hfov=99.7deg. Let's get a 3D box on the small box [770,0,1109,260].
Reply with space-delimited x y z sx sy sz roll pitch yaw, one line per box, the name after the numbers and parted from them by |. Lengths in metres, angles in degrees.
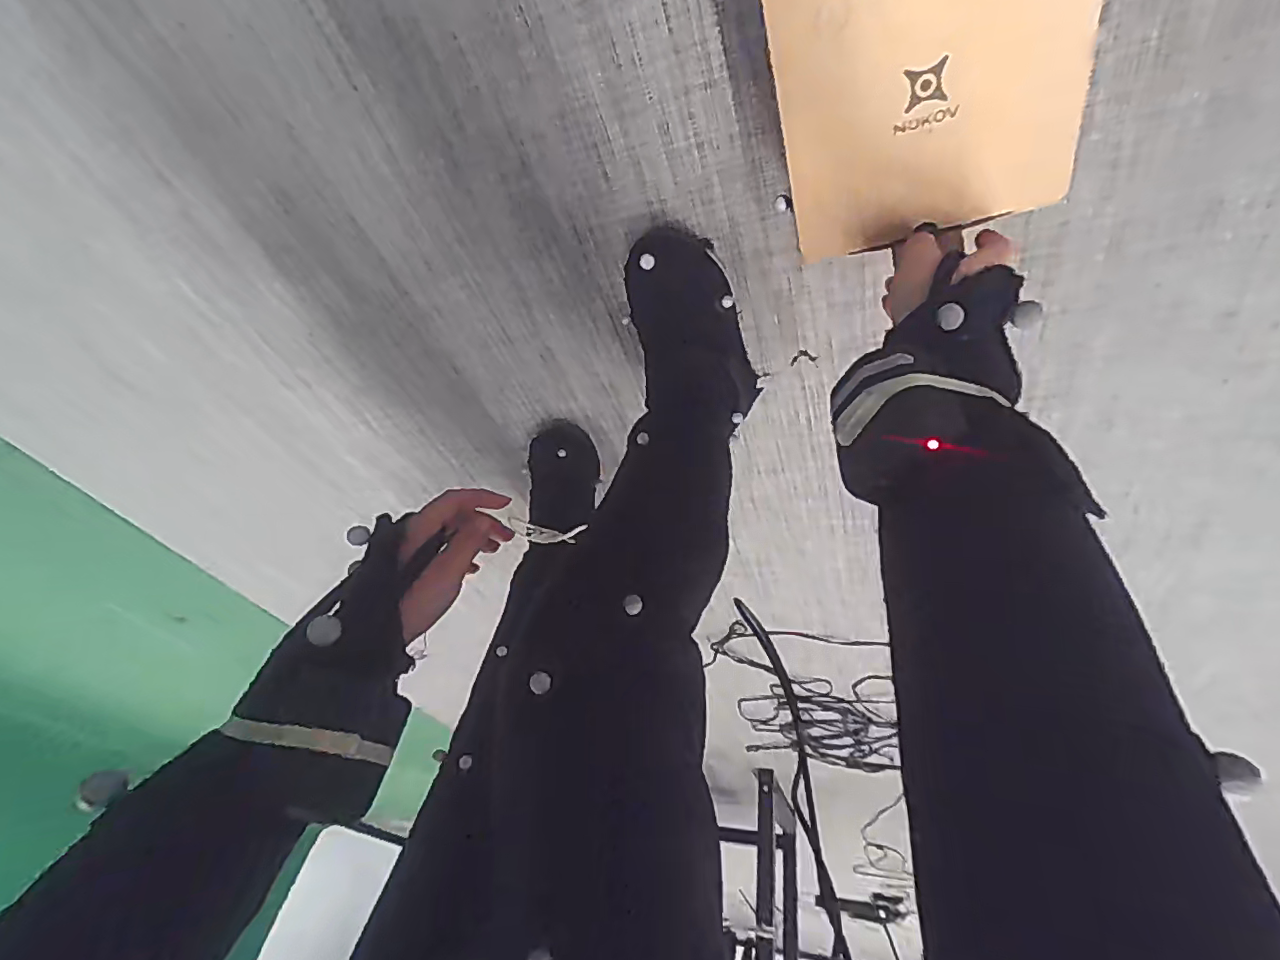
0.182 -0.288 0.368 0.168 0.176 0.179 -8 135 21 | small box
